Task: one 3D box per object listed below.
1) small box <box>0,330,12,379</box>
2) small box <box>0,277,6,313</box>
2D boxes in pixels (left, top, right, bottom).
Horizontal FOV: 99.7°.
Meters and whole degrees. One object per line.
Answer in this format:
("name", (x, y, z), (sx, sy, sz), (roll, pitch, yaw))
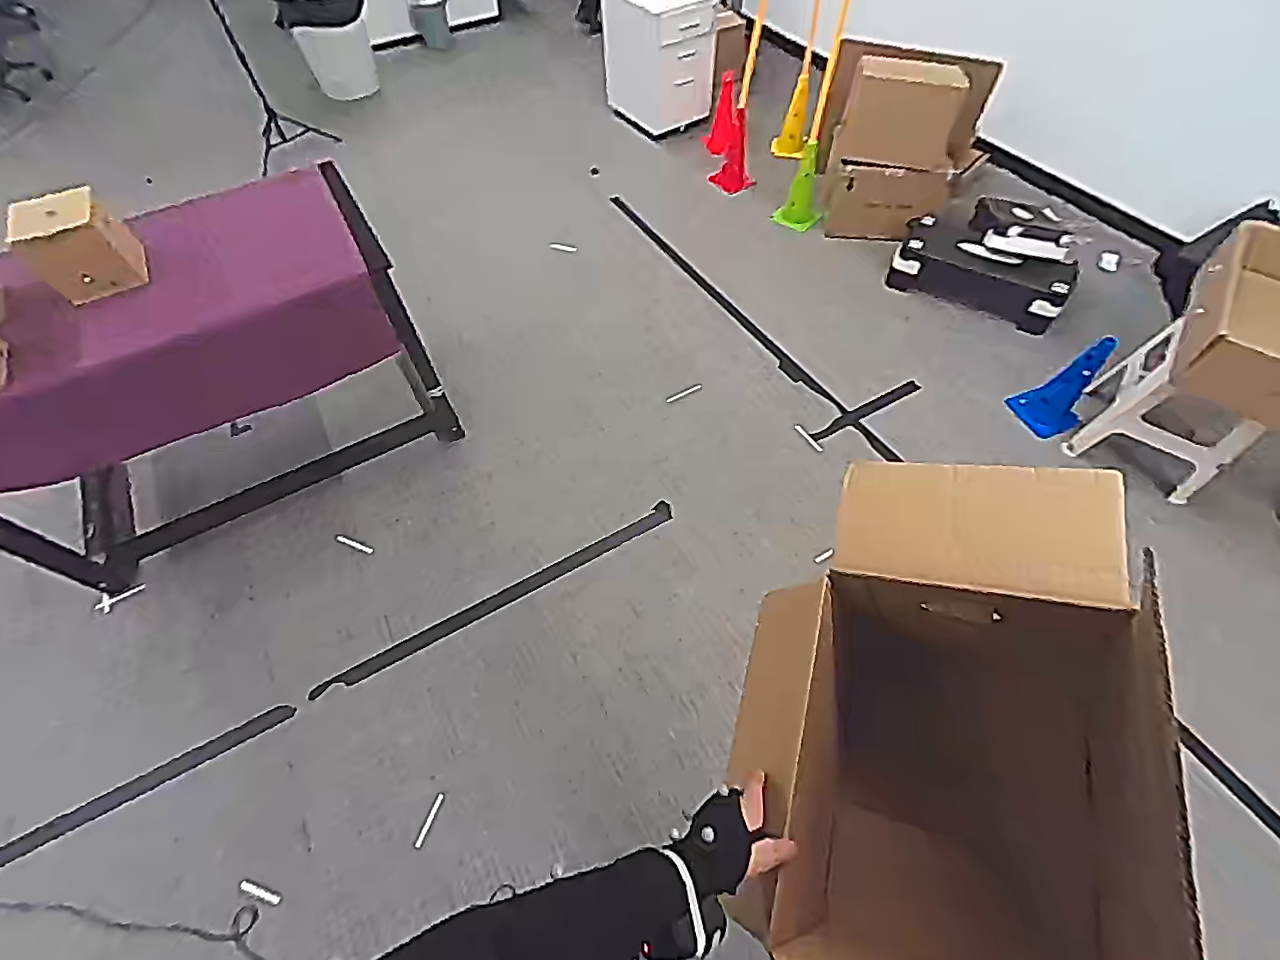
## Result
("small box", (-1.463, -0.276, 1.098), (0.179, 0.176, 0.168), (-27, 62, -16))
("small box", (-1.599, -0.444, 1.205), (0.179, 0.176, 0.168), (-29, 62, -17))
